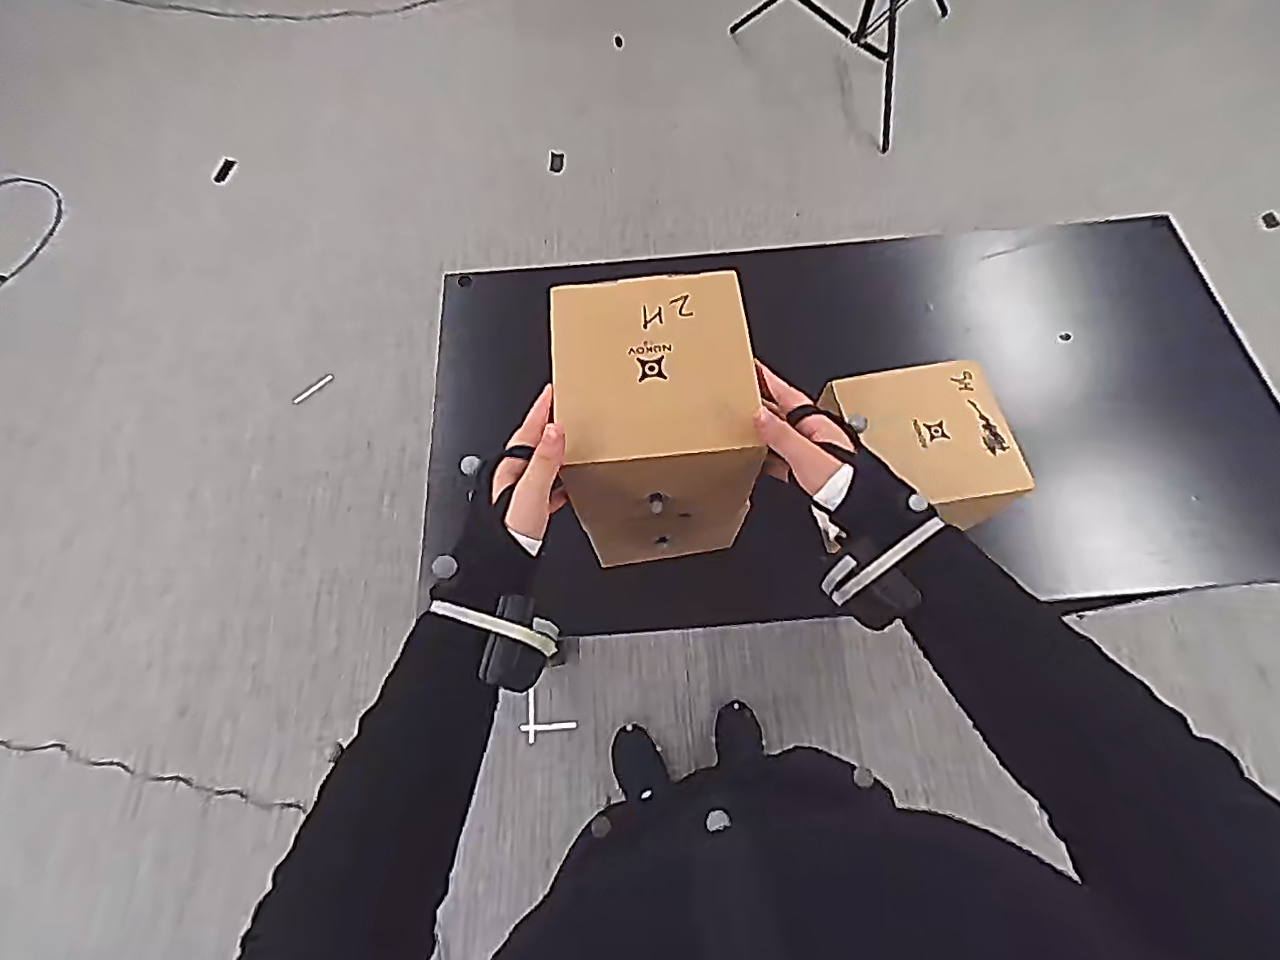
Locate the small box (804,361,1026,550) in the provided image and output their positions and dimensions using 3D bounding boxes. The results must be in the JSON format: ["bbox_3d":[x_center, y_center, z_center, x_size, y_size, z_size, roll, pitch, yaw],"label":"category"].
[{"bbox_3d":[0.315,-0.021,0.670,0.179,0.176,0.168,-9,67,-1],"label":"small box"}]

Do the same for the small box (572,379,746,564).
[{"bbox_3d":[0.020,-0.002,0.674,0.179,0.176,0.168,-9,67,0],"label":"small box"}]
